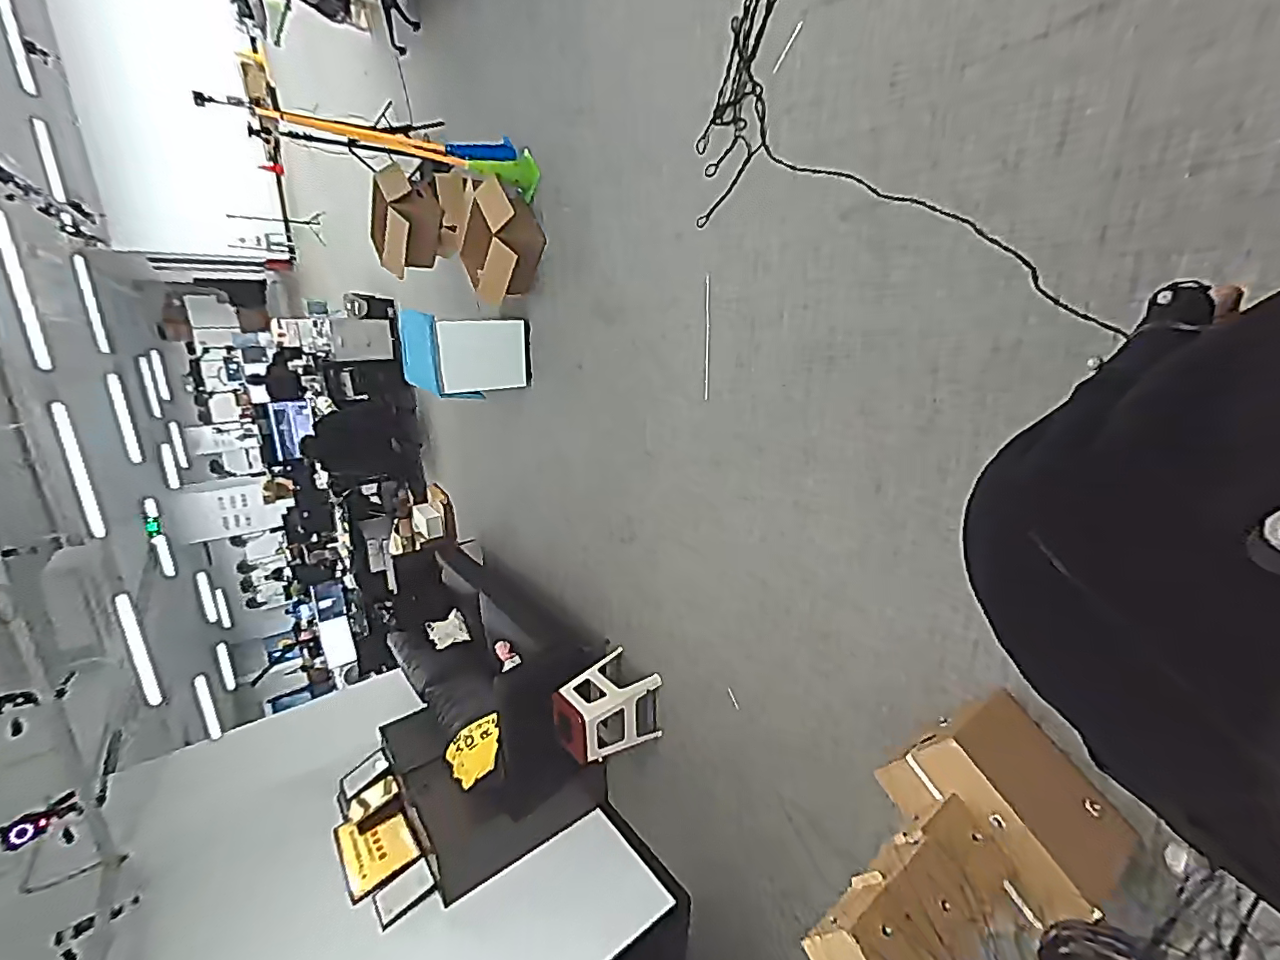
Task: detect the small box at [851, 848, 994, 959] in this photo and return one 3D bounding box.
[{"bbox_3d":[0.603,0.927,1.159,0.179,0.176,0.168,54,139,27],"label":"small box"}]

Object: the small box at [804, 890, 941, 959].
[{"bbox_3d":[0.470,0.956,1.069,0.168,0.176,0.179,53,139,30],"label":"small box"}]

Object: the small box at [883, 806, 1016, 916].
[{"bbox_3d":[0.723,0.903,1.270,0.179,0.176,0.168,52,138,31],"label":"small box"}]
